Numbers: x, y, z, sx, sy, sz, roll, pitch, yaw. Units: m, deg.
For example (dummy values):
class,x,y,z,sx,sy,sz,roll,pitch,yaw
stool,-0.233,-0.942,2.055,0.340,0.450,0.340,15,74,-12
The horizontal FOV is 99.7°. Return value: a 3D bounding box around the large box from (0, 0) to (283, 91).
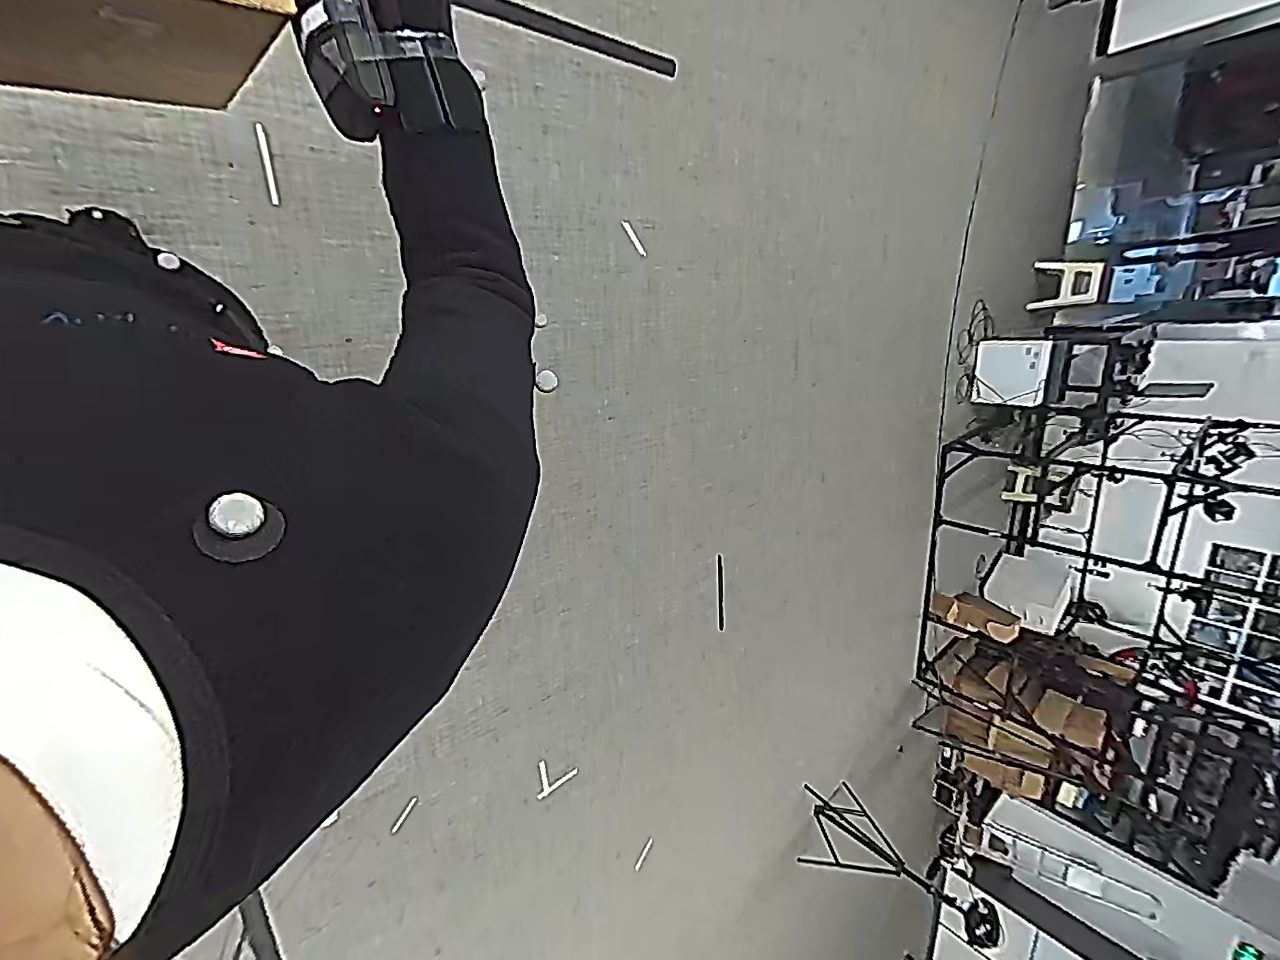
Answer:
class,x,y,z,sx,sy,sz,roll,pitch,yaw
large box,-0.447,-0.398,0.226,0.408,0.320,0.320,-21,123,-38
